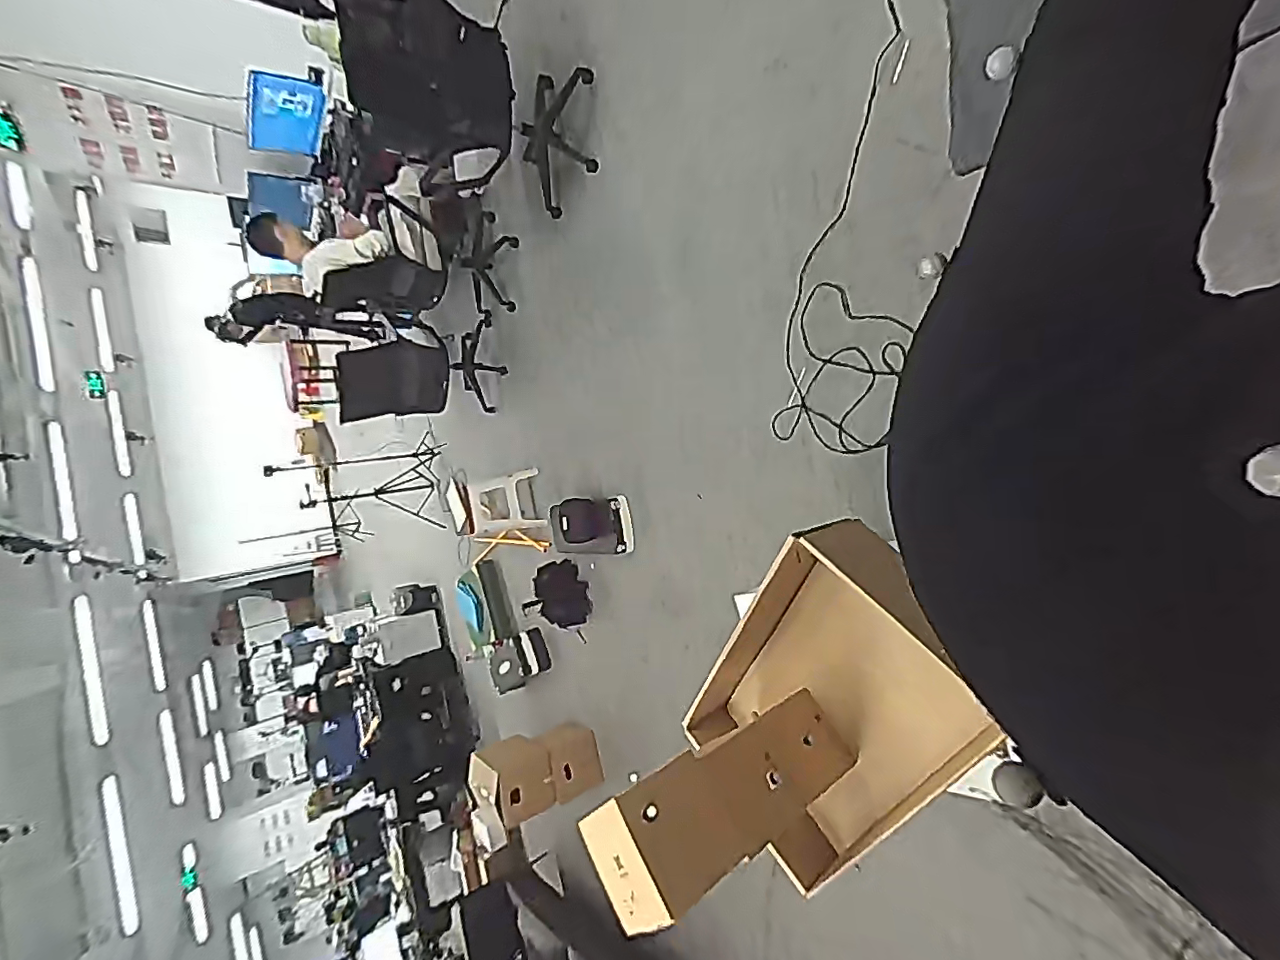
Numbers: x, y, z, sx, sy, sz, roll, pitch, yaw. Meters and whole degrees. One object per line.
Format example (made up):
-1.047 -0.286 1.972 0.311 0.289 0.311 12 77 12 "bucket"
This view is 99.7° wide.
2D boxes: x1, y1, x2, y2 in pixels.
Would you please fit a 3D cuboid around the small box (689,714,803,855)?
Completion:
0.164 0.566 1.001 0.168 0.176 0.179 58 136 22 "small box"

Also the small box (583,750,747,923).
0.039 0.575 0.892 0.179 0.176 0.168 55 136 25 "small box"
